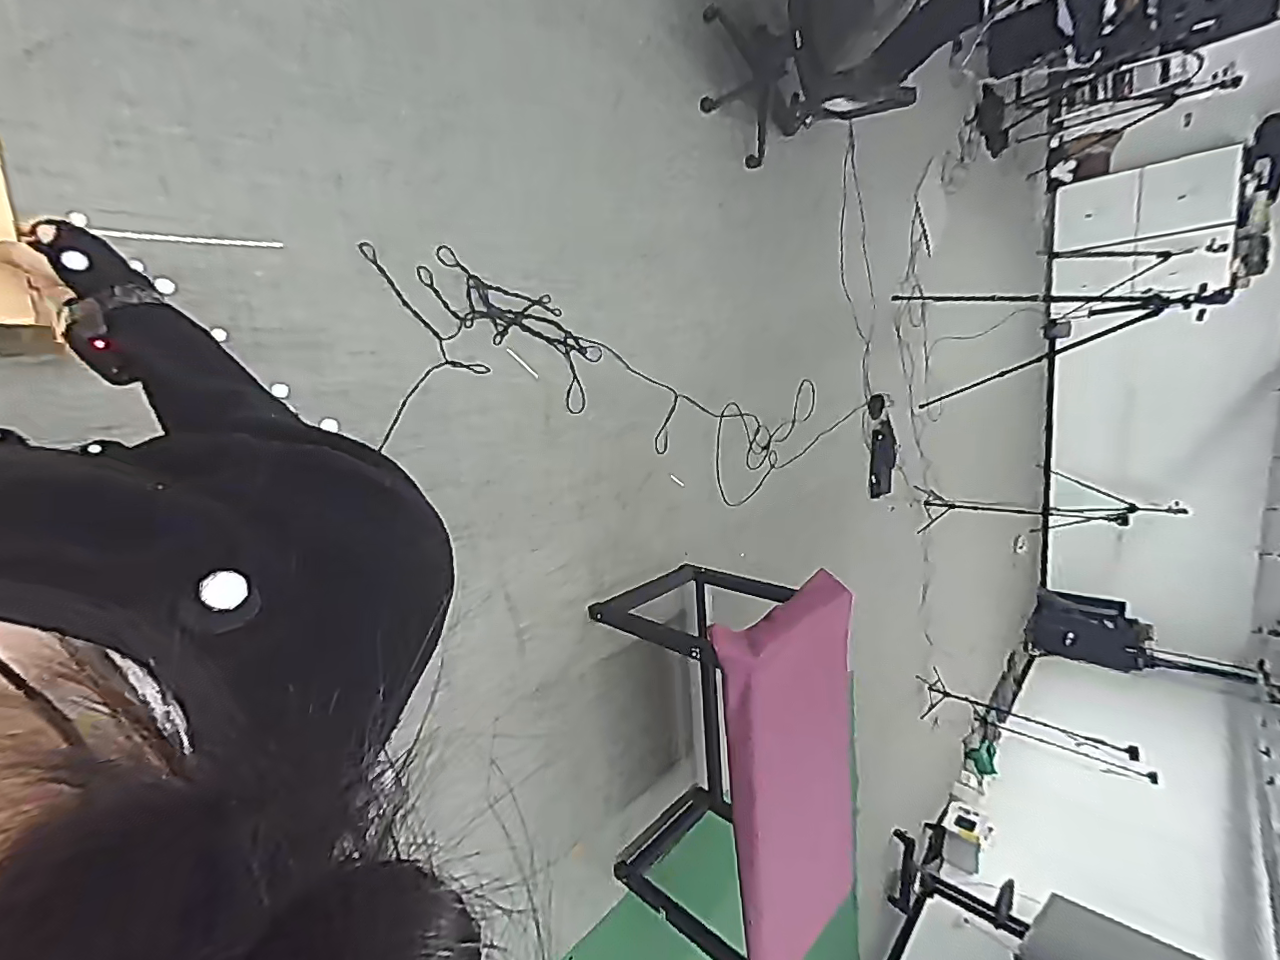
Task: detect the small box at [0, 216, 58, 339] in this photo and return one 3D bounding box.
[{"bbox_3d":[-0.887,-0.270,0.684,0.179,0.176,0.168,-20,108,-42],"label":"small box"}]

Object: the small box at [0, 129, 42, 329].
[{"bbox_3d":[-0.707,-0.242,0.506,0.168,0.176,0.179,-15,108,-49],"label":"small box"}]

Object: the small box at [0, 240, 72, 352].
[{"bbox_3d":[-1.113,-0.309,0.918,0.179,0.176,0.168,-17,106,-43],"label":"small box"}]
